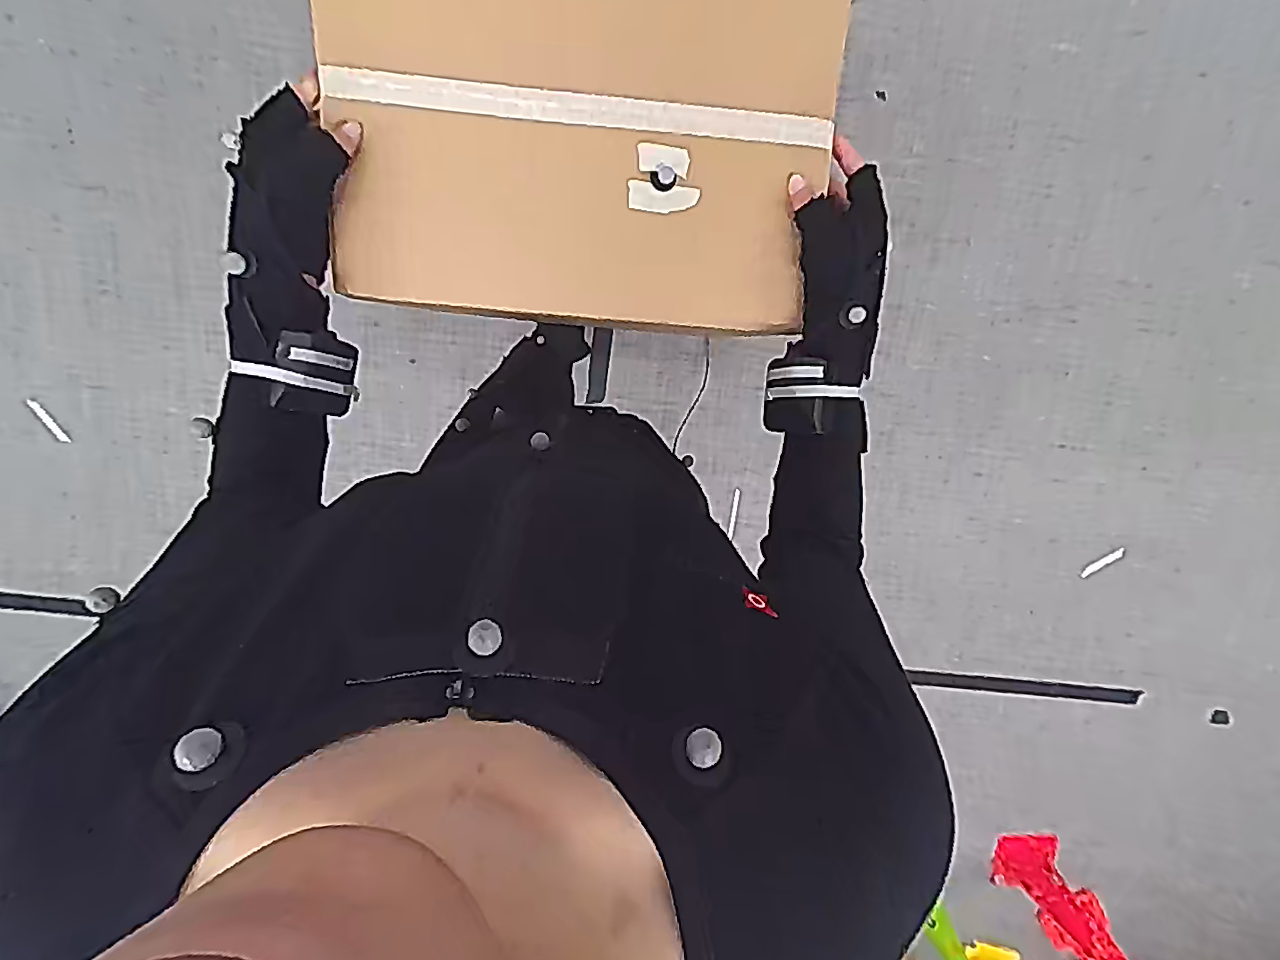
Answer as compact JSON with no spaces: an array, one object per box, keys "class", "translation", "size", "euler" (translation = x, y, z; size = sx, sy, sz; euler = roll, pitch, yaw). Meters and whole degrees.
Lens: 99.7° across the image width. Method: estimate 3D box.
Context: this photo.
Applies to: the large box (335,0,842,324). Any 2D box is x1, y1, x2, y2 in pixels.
[{"class":"large box","translation":[-0.051,-0.343,0.583],"size":[0.408,0.320,0.320],"euler":[3,105,-4]}]
